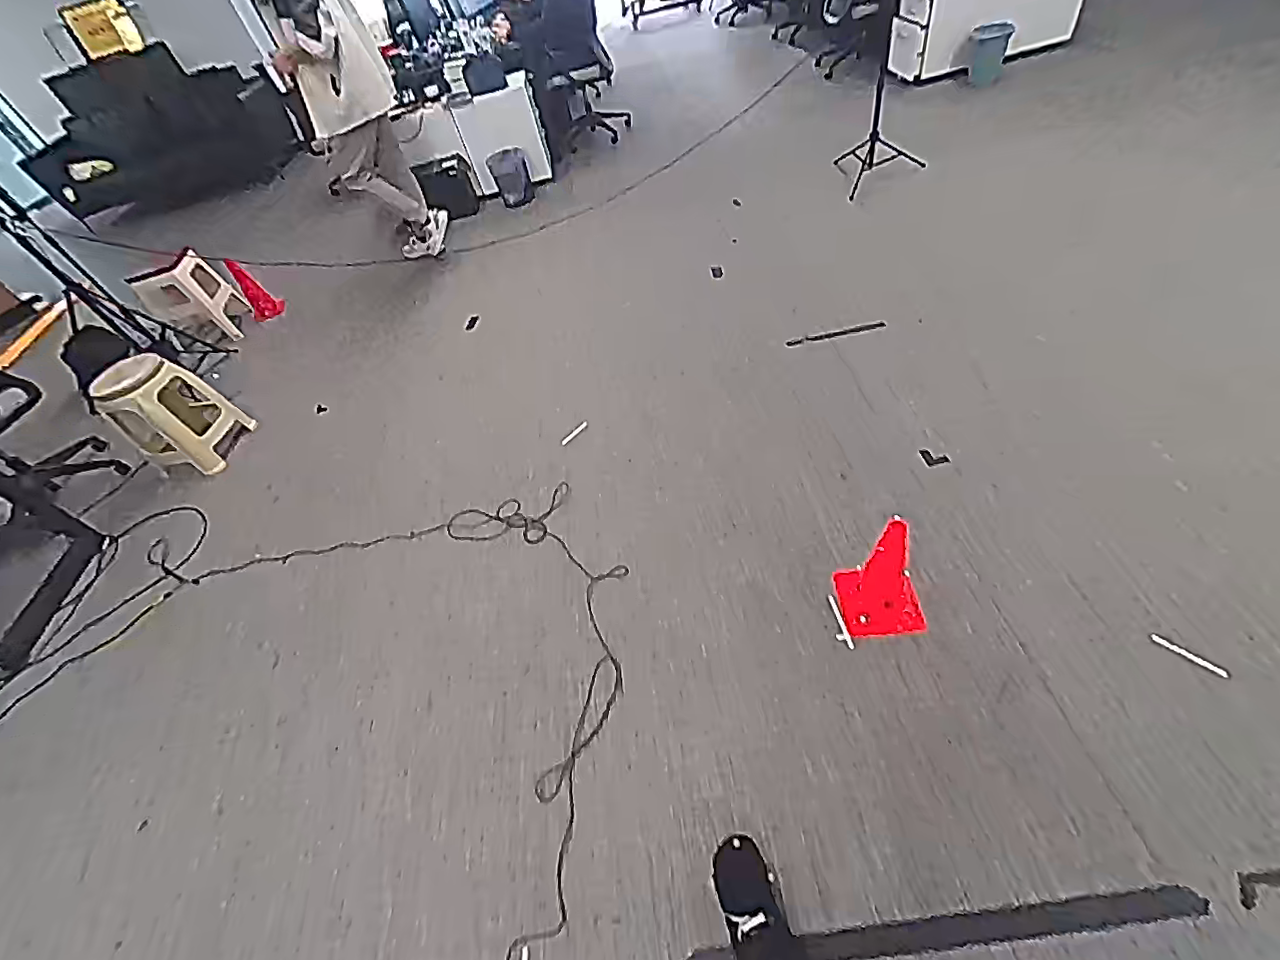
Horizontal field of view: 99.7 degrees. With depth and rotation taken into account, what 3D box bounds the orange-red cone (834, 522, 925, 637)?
[{"bbox_3d":[0.607,0.218,1.327,0.199,0.360,0.198,-6,49,8],"label":"orange-red cone"}]
